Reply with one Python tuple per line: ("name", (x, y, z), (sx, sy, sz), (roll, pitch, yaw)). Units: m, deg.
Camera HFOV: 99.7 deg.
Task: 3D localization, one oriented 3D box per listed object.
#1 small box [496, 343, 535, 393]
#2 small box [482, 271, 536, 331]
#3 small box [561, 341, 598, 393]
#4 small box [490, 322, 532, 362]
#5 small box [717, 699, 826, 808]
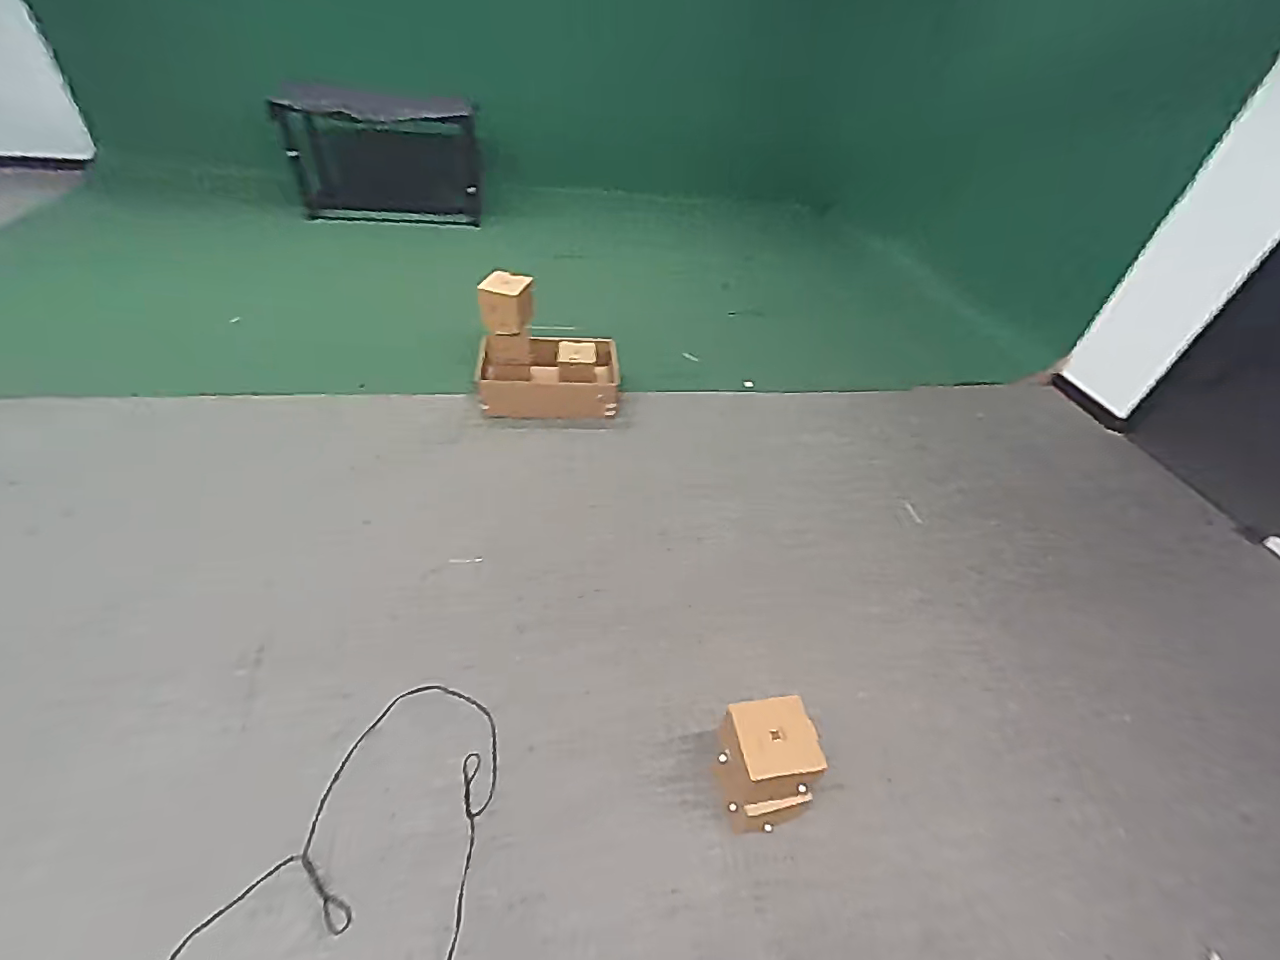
("small box", (-0.571, -0.518, 2.483), (0.168, 0.176, 0.179), (-2, 44, -10))
("small box", (-0.537, -0.741, 2.246), (0.168, 0.176, 0.179), (15, 43, 6))
("small box", (-0.285, -0.533, 2.544), (0.168, 0.176, 0.179), (2, 44, -5))
("small box", (-0.558, -0.629, 2.362), (0.168, 0.176, 0.179), (0, 43, -10))
("small box", (0.290, 0.623, 1.233), (0.179, 0.176, 0.168), (-3, 43, -10))
